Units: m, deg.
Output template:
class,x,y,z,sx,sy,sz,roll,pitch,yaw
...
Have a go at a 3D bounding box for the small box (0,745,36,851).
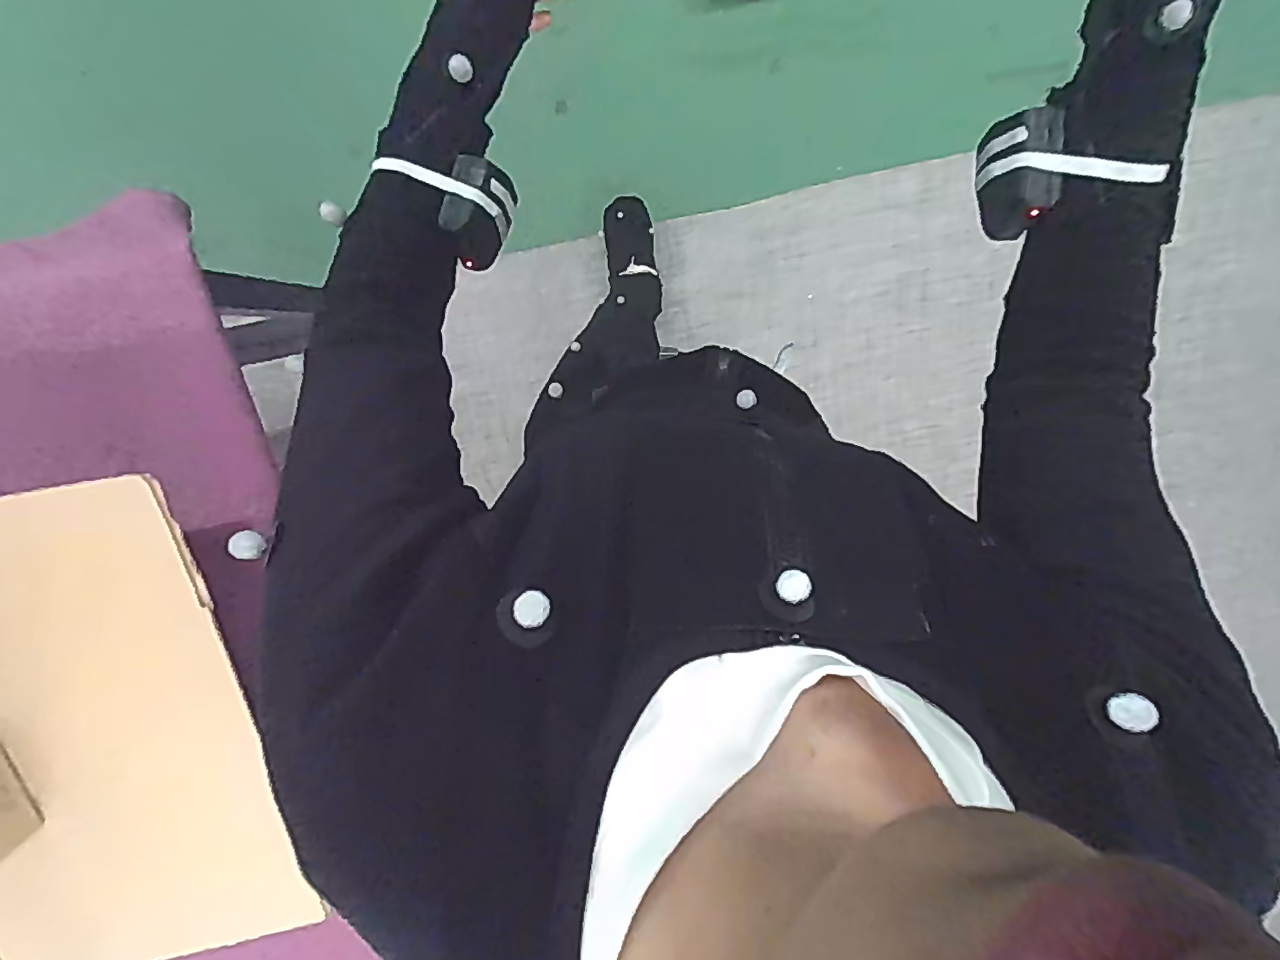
class,x,y,z,sx,sy,sz,roll,pitch,yaw
small box,-0.780,0.352,0.524,0.179,0.176,0.168,-9,105,2
